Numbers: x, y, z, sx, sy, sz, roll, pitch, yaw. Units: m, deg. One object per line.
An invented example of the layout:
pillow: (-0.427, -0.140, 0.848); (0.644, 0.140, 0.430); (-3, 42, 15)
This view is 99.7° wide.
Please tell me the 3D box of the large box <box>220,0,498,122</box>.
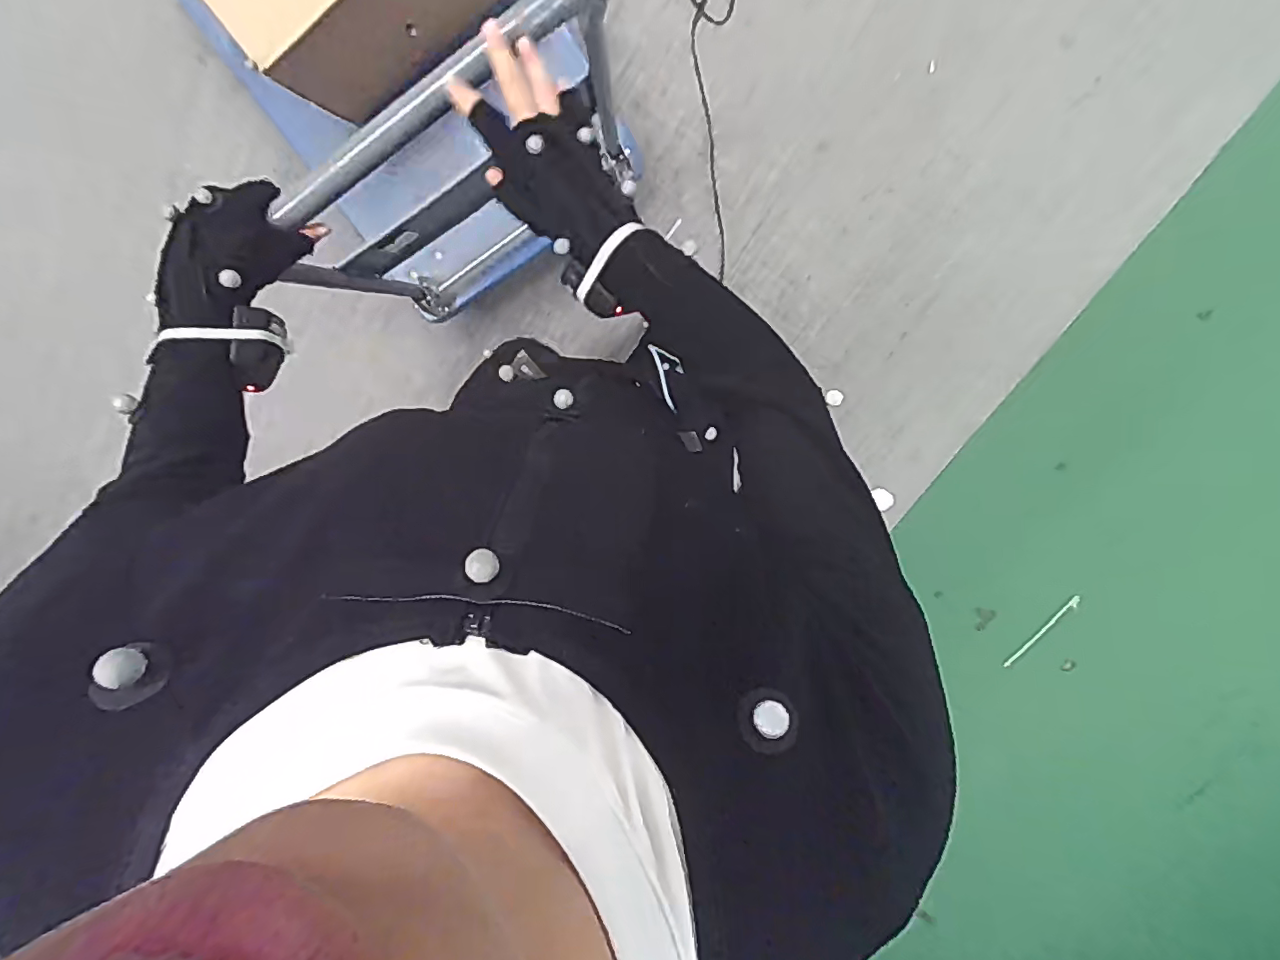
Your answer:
large box: (-0.455, -0.866, 0.841); (0.408, 0.320, 0.320); (-34, 108, 12)
